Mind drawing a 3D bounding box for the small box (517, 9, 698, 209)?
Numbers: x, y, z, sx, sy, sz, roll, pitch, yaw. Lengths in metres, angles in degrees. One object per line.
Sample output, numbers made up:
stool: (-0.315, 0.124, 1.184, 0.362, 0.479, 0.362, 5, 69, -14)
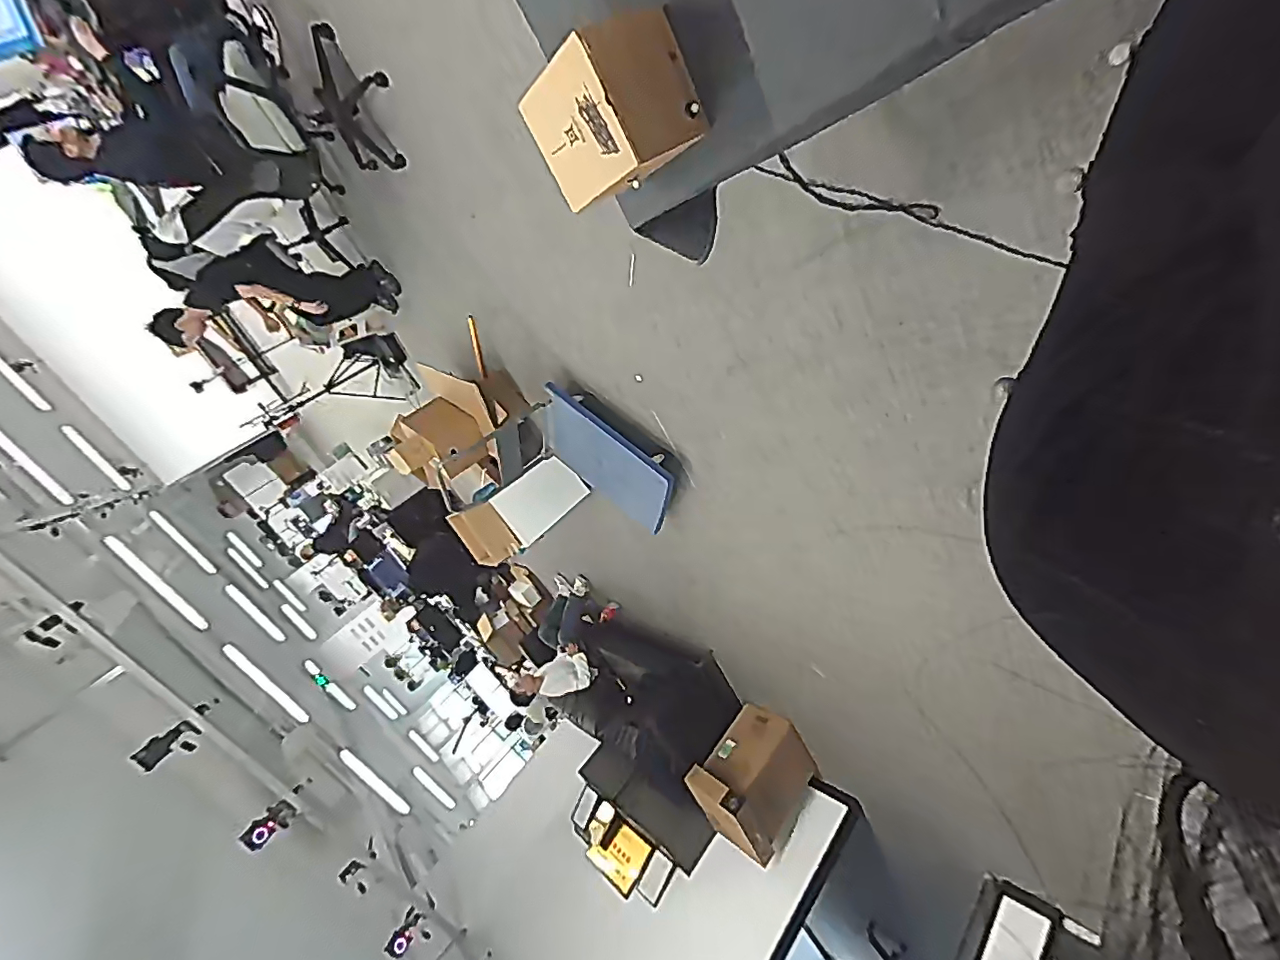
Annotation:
small box: (-0.039, -0.536, 0.790, 0.179, 0.176, 0.168, 1, 128, 53)
